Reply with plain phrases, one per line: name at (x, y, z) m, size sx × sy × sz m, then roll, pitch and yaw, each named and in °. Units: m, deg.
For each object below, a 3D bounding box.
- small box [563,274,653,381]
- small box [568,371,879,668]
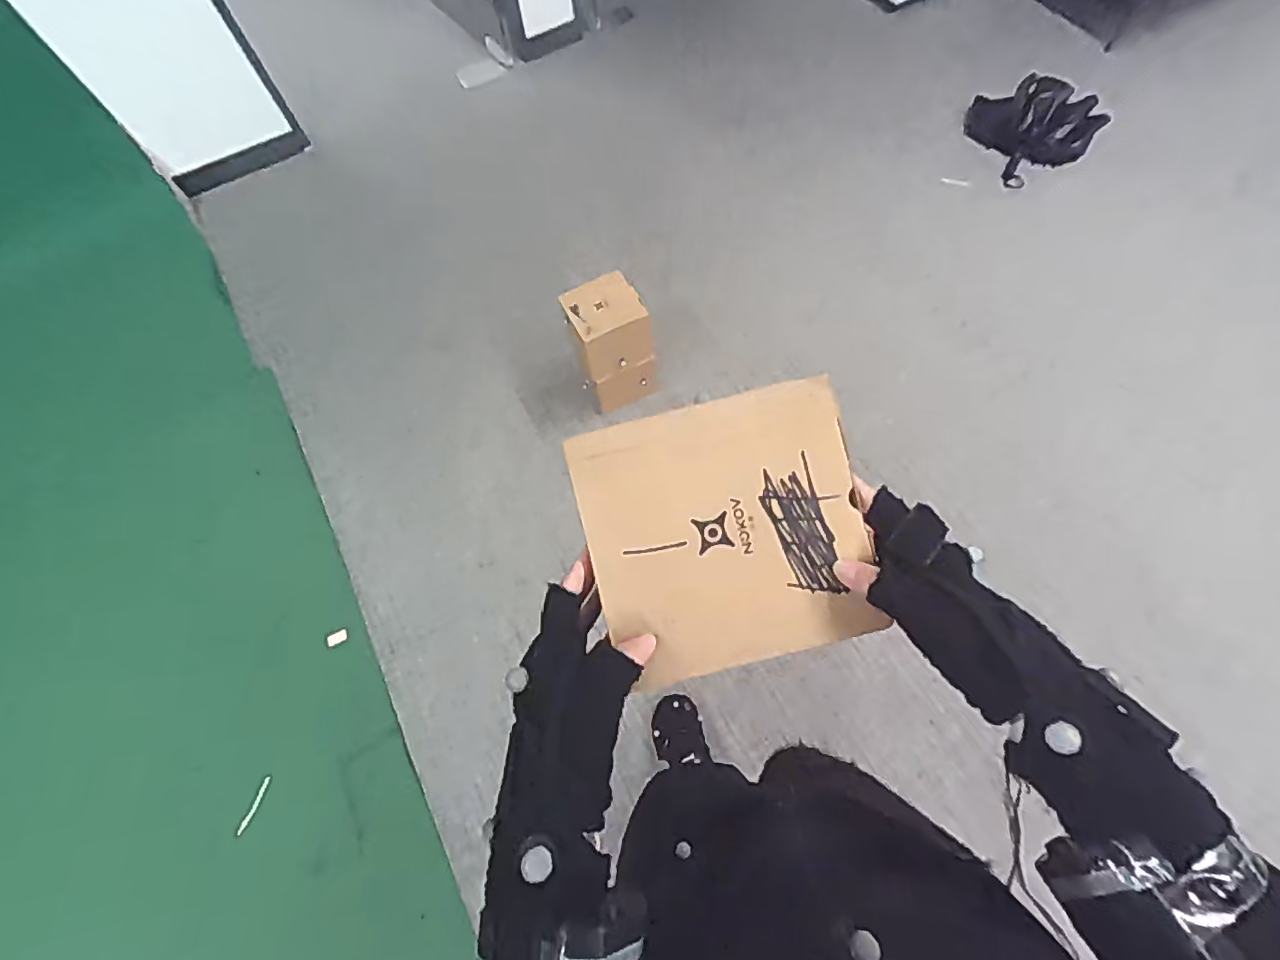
small box at (-0.078, -0.388, 1.393) m, size 0.179 × 0.176 × 0.168 m, roll -26°, pitch 67°, yaw -8°
small box at (0.052, 0.027, 0.422) m, size 0.179 × 0.176 × 0.168 m, roll -11°, pitch 86°, yaw 0°
